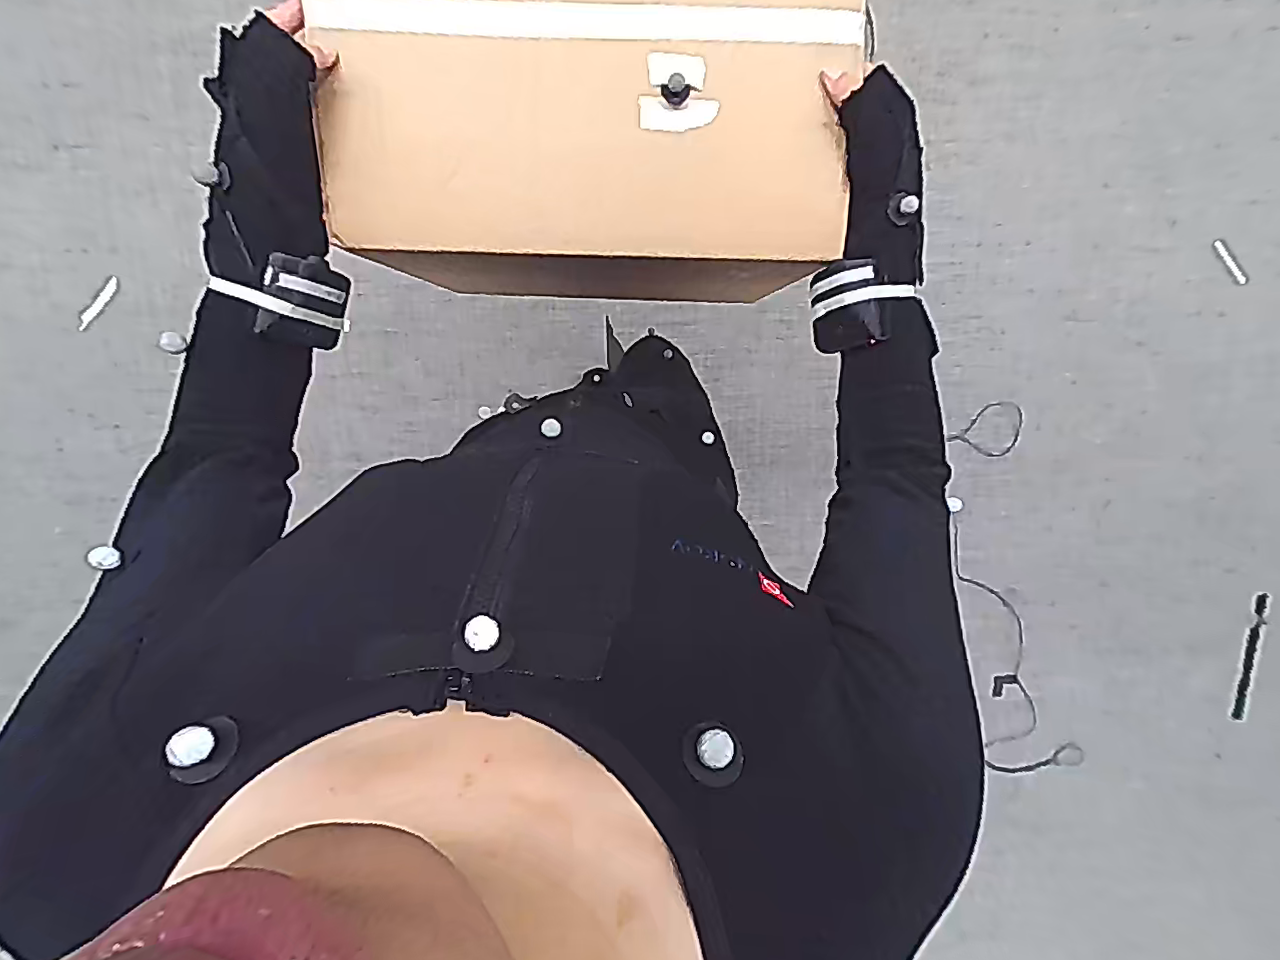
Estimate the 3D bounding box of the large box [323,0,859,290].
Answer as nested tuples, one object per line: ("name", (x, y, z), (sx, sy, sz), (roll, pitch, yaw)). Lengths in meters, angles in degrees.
("large box", (-0.039, -0.375, 0.546), (0.408, 0.320, 0.320), (1, 103, -1))
